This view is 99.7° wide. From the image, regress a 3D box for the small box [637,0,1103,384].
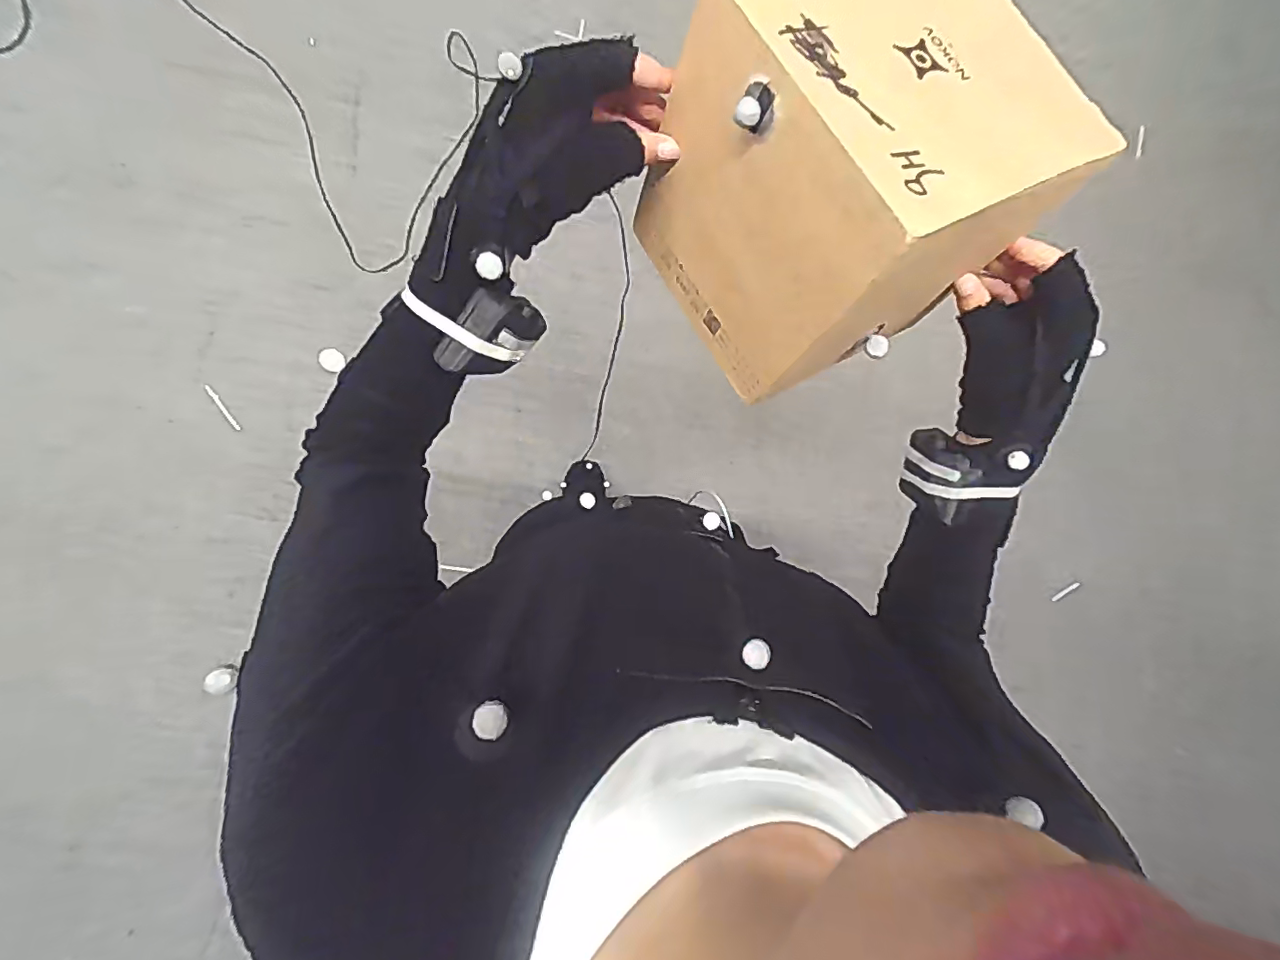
[{"bbox_3d":[0.122,-0.191,0.347,0.179,0.176,0.168,-27,80,-21],"label":"small box"}]
